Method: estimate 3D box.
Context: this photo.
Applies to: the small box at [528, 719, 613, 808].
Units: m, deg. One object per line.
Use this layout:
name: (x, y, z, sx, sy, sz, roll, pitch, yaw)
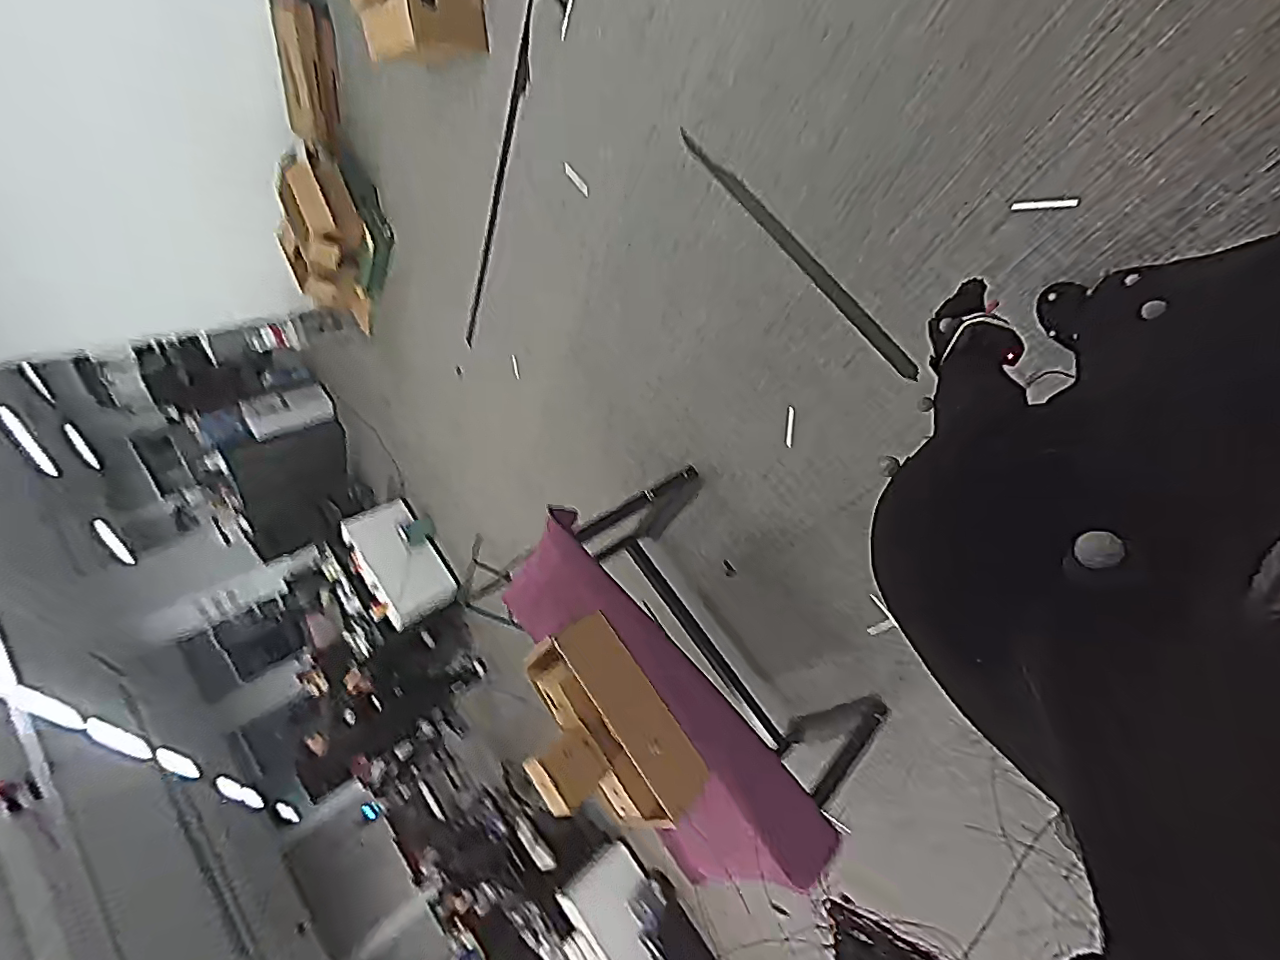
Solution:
small box: (-0.201, 0.830, 1.591, 0.168, 0.176, 0.179, 53, 144, 14)
